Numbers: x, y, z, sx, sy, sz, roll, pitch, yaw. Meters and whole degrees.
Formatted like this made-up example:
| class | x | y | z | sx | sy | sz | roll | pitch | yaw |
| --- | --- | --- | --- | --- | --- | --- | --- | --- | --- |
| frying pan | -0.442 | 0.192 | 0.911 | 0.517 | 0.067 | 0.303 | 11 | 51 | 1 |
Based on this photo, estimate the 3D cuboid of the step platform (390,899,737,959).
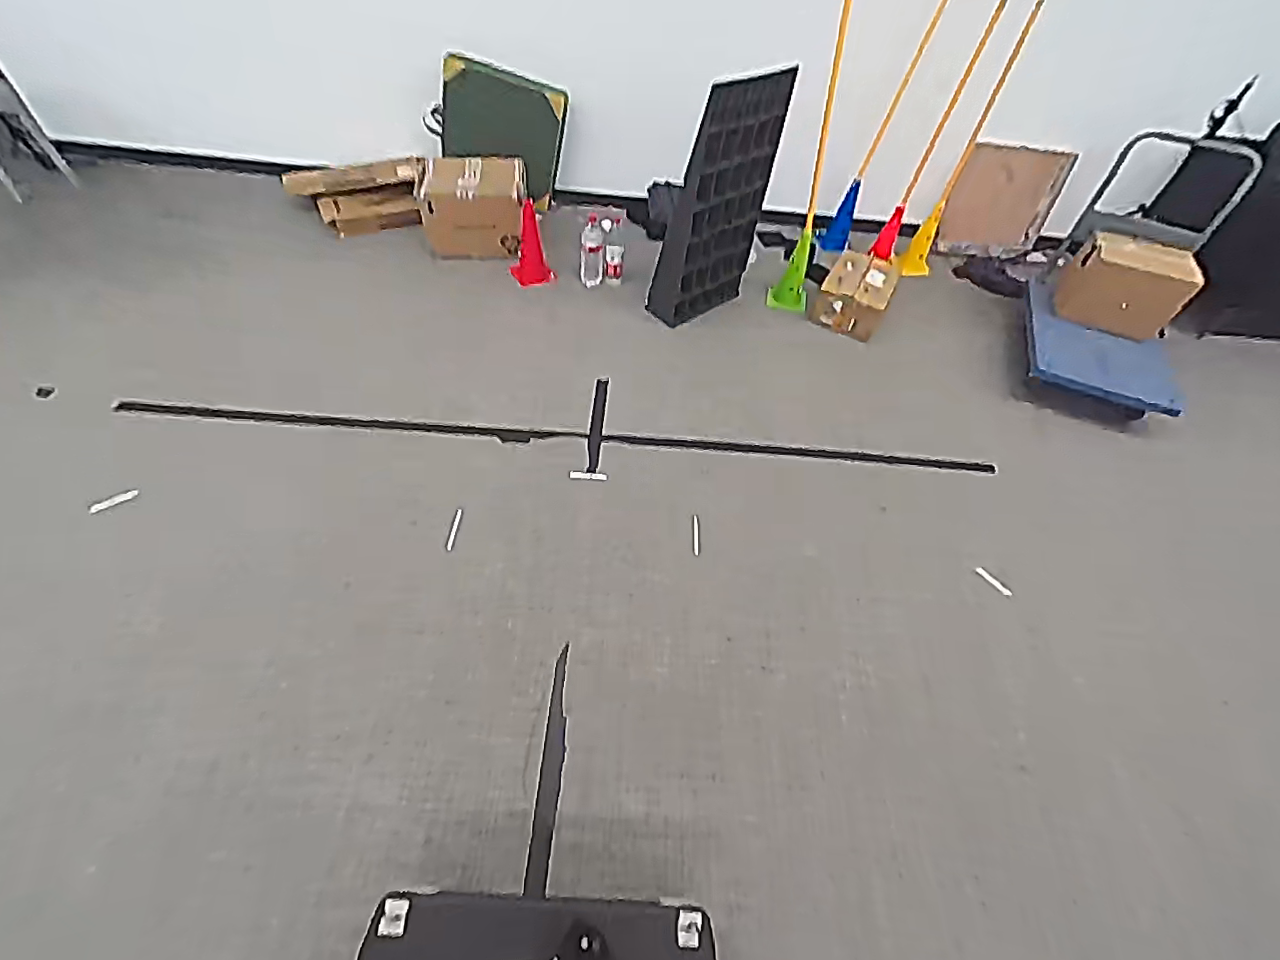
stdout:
| class | x | y | z | sx | sy | sz | roll | pitch | yaw |
| --- | --- | --- | --- | --- | --- | --- | --- | --- | --- |
| step platform | -0.146 | 1.011 | 1.014 | 0.684 | 0.204 | 0.286 | 9 | 49 | 0 |
